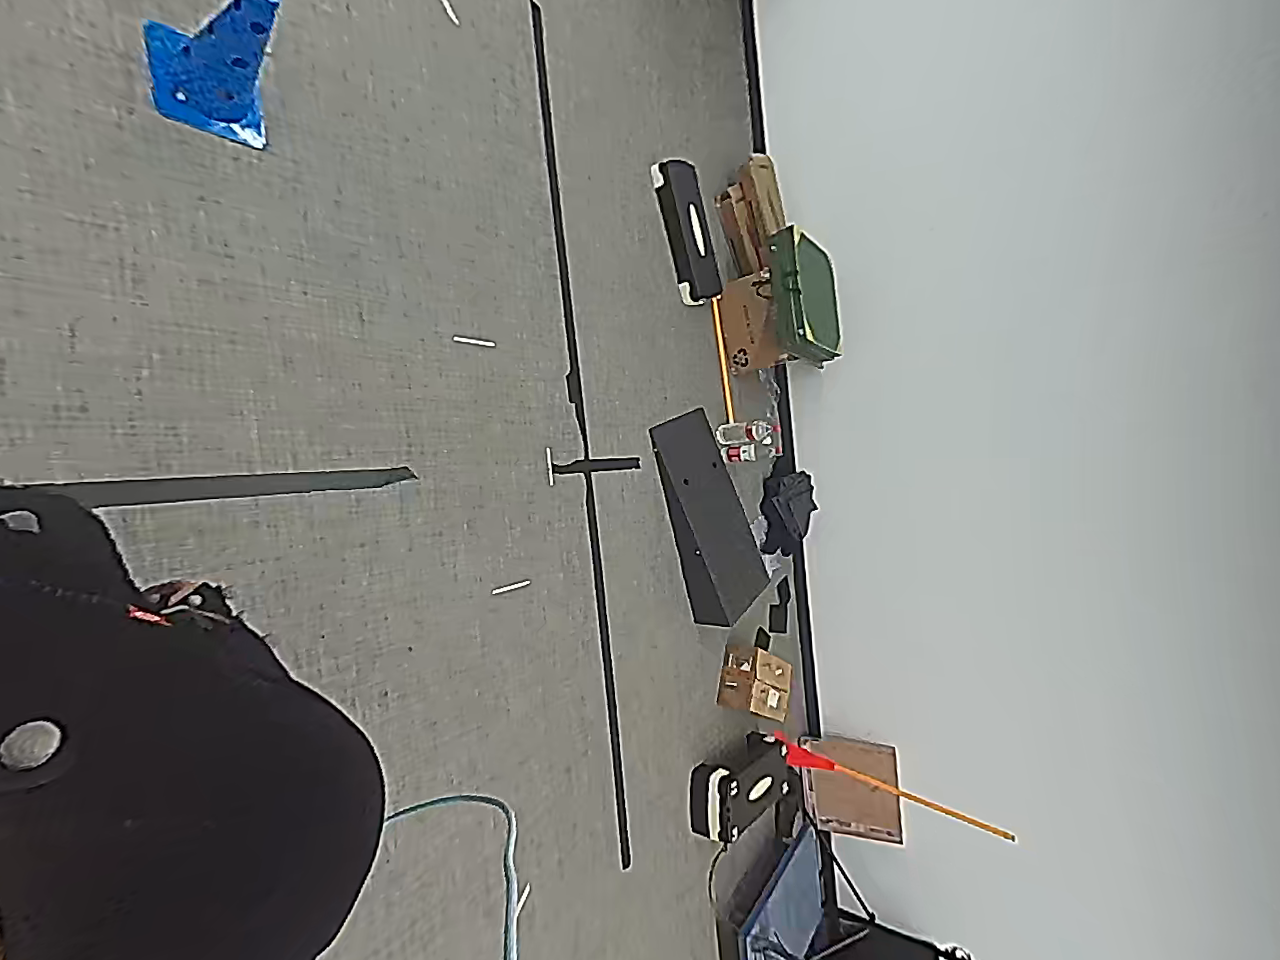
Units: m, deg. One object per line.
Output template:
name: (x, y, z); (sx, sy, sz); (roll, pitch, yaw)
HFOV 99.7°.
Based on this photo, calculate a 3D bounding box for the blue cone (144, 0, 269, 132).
blue cone: (-0.813, -0.887, 1.073); (0.193, 0.380, 0.192); (-5, 90, -53)
